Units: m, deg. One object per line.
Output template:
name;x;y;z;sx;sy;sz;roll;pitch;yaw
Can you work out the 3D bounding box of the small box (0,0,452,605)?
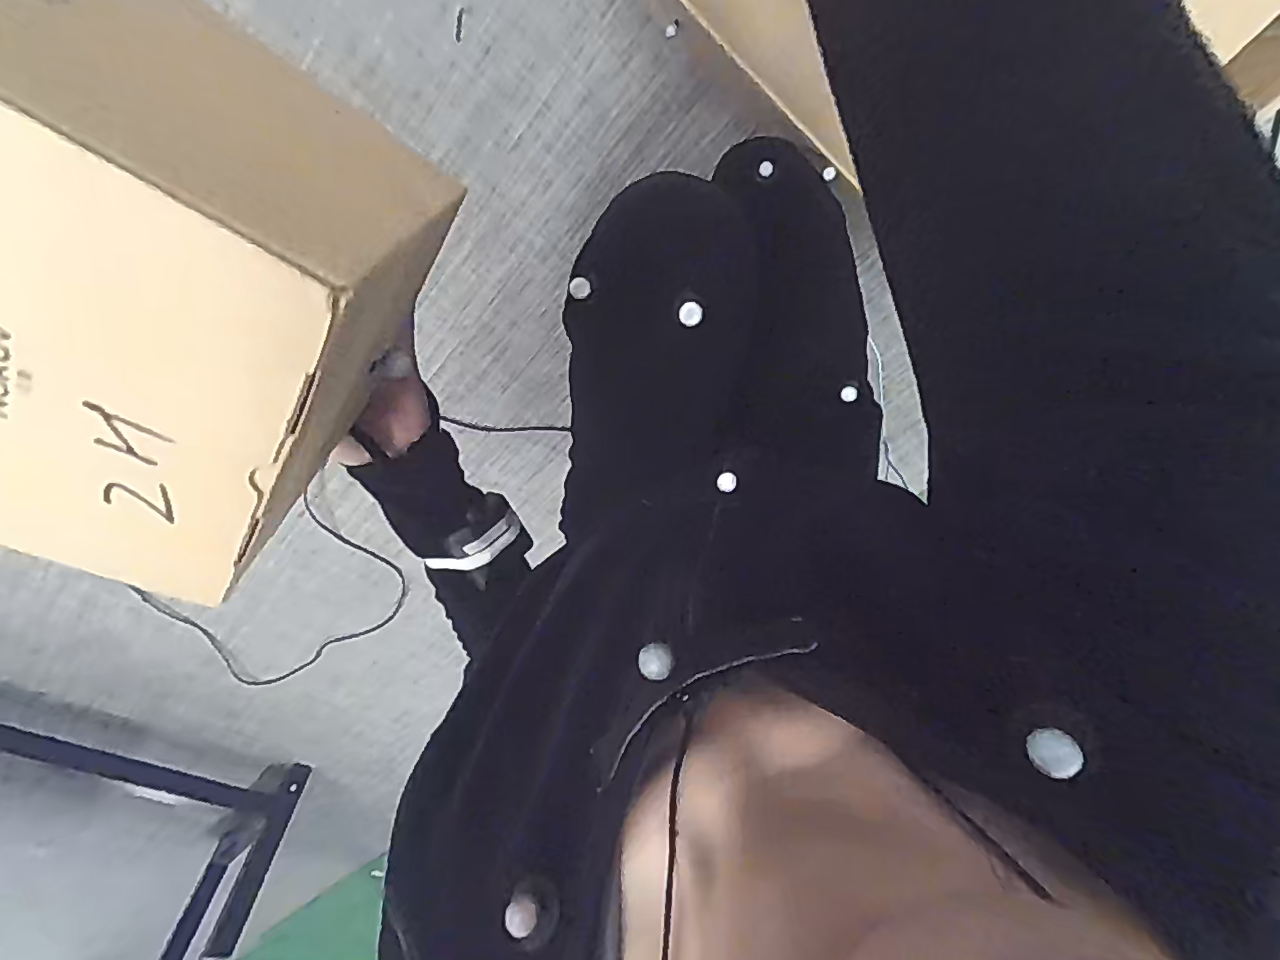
small box;-0.210;-0.084;0.233;0.179;0.176;0.168;29;121;-23
